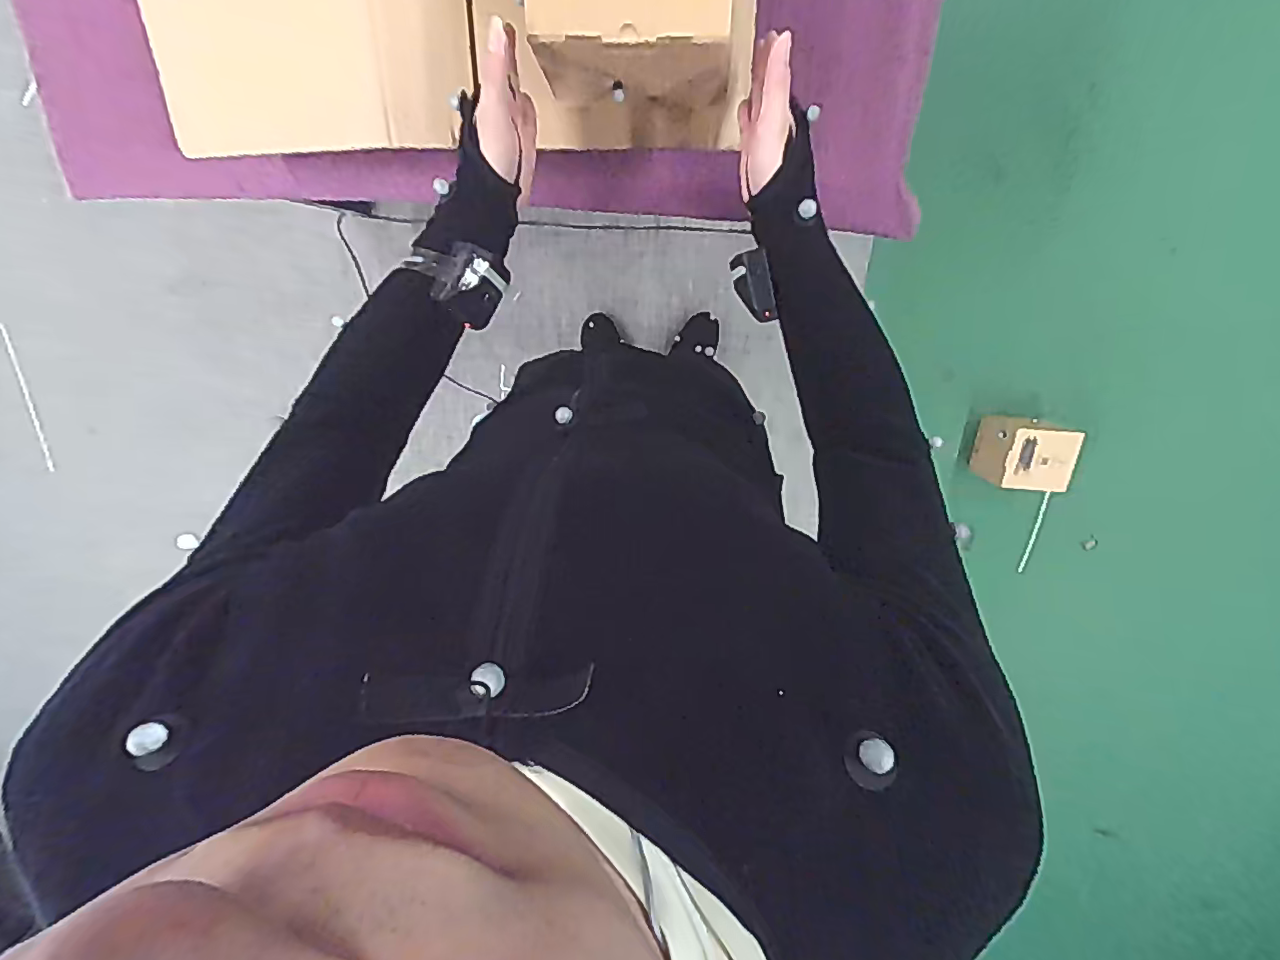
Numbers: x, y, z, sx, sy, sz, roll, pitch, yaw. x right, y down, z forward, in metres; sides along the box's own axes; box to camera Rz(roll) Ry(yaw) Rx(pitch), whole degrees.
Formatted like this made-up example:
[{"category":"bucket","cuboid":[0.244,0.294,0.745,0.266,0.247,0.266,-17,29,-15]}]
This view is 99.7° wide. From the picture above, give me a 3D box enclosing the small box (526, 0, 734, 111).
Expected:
[{"category":"small box","cuboid":[-0.008,-0.455,0.477,0.168,0.176,0.179,0,111,0]}]
